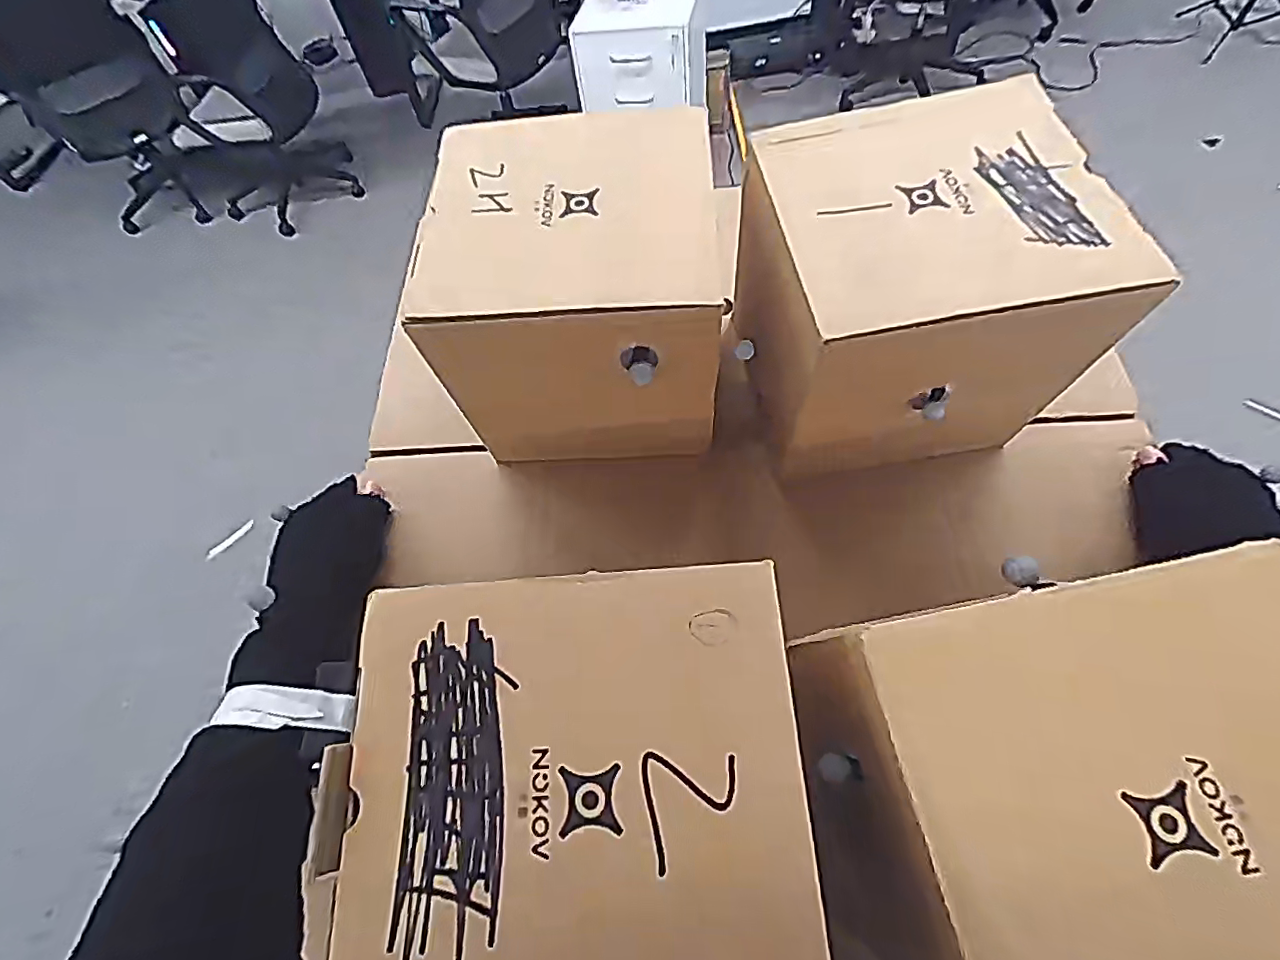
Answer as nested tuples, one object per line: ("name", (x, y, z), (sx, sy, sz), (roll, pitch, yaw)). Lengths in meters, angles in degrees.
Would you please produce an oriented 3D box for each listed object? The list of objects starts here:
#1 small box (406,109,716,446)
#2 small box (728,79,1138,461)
("small box", (-0.038, -0.135, 0.403), (0.179, 0.176, 0.168), (-1, 65, 5))
("small box", (0.165, -0.130, 0.380), (0.179, 0.176, 0.168), (-10, 65, 3))
